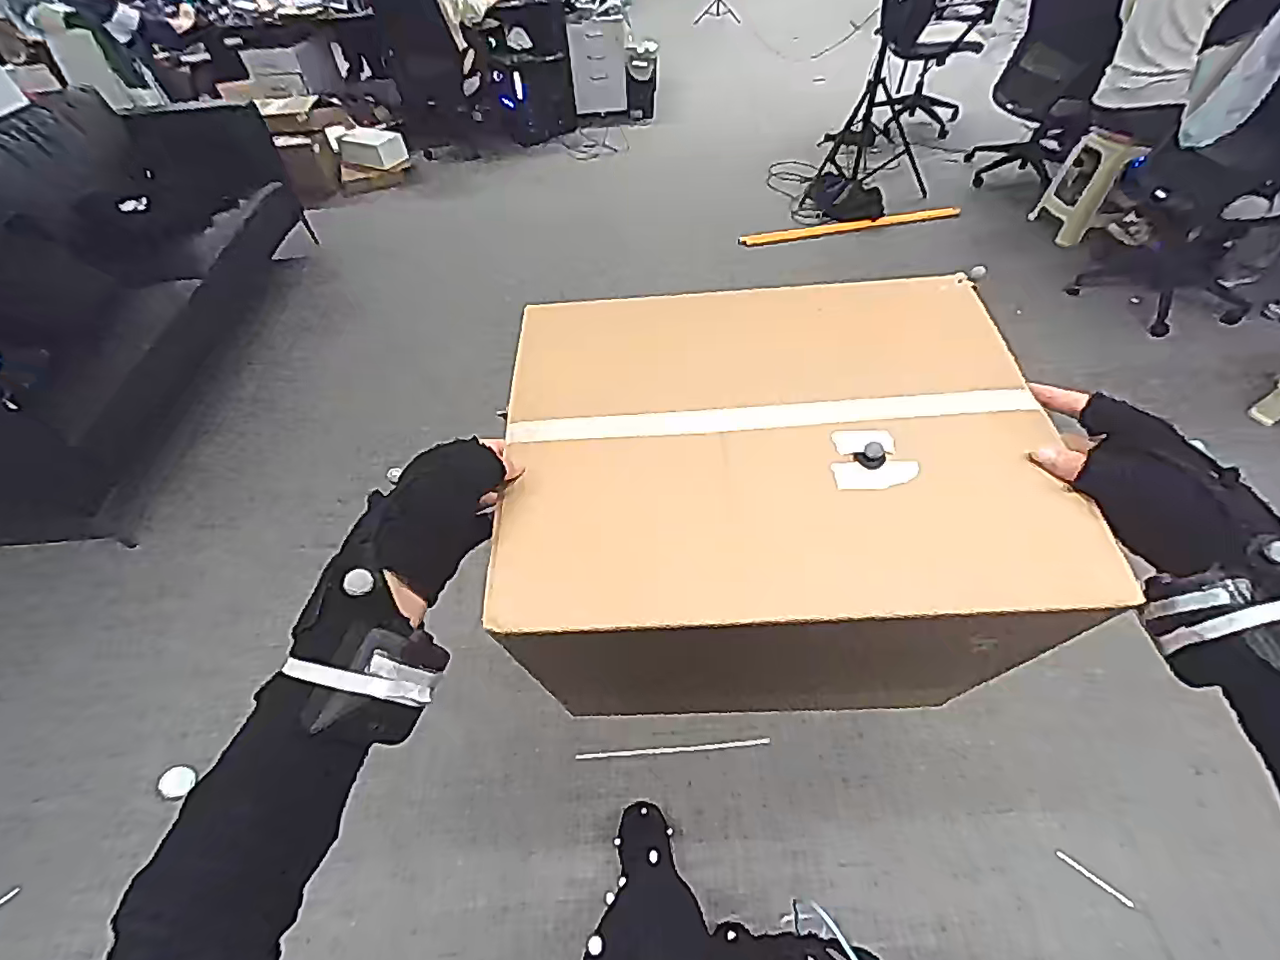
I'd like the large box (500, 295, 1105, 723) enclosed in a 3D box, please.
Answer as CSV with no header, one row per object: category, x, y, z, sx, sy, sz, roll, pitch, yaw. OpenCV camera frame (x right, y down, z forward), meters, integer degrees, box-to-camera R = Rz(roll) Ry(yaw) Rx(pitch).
large box,0.106,0.048,0.557,0.408,0.320,0.320,-4,57,3
